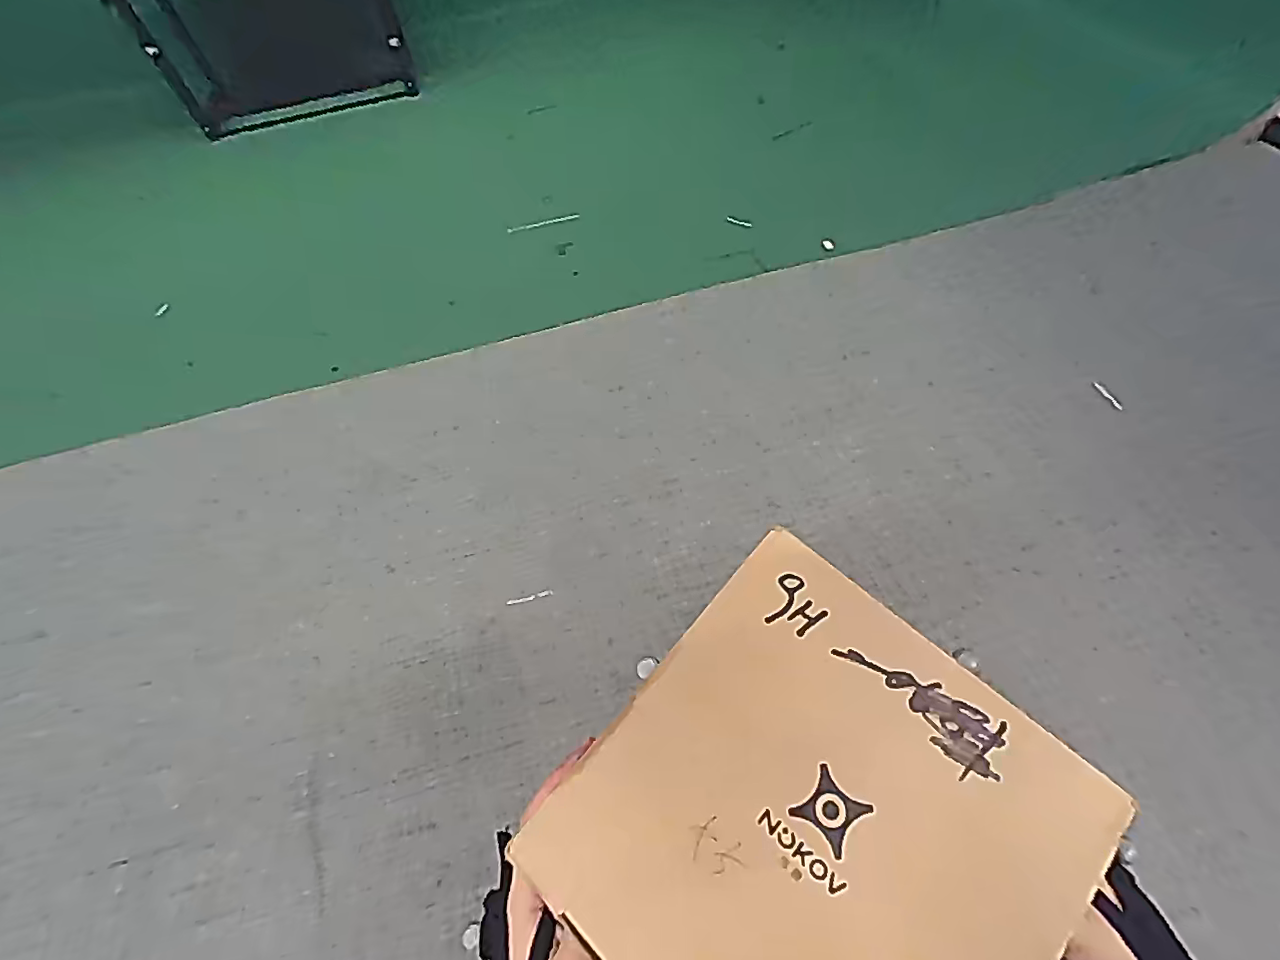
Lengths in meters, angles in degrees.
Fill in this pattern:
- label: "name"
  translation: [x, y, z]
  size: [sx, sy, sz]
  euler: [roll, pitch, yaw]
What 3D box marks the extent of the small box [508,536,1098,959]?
- label: "small box"
  translation: [0.068, 0.163, 0.287]
  size: [0.168, 0.176, 0.179]
  euler: [38, 77, 16]
